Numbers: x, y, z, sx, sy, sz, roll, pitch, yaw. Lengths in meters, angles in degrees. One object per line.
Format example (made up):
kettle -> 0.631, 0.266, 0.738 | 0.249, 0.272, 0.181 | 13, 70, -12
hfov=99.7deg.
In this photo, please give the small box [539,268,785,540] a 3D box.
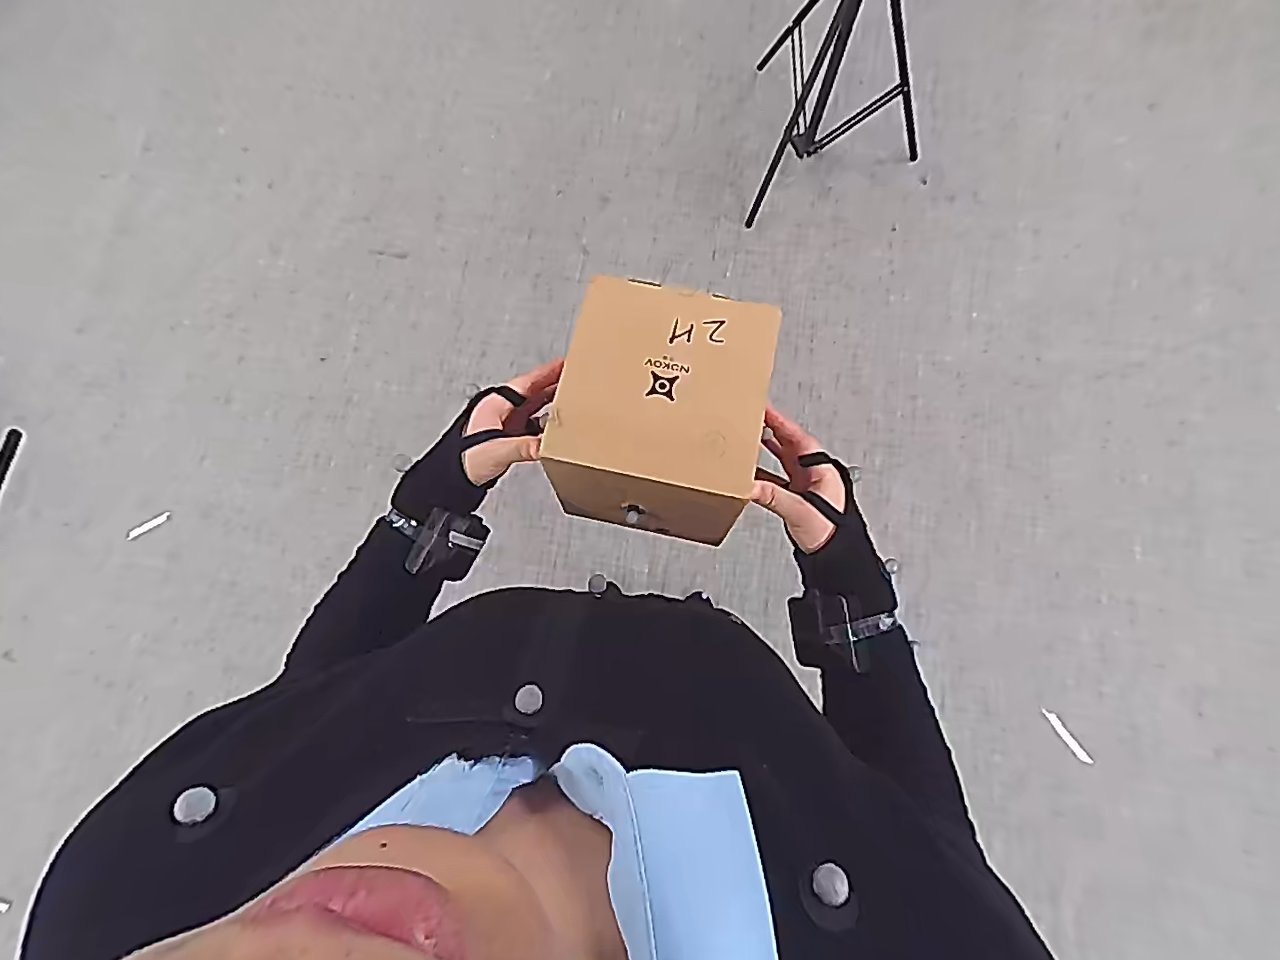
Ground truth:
small box -> 0.021, -0.056, 0.499 | 0.168, 0.176, 0.179 | 13, 71, 3
